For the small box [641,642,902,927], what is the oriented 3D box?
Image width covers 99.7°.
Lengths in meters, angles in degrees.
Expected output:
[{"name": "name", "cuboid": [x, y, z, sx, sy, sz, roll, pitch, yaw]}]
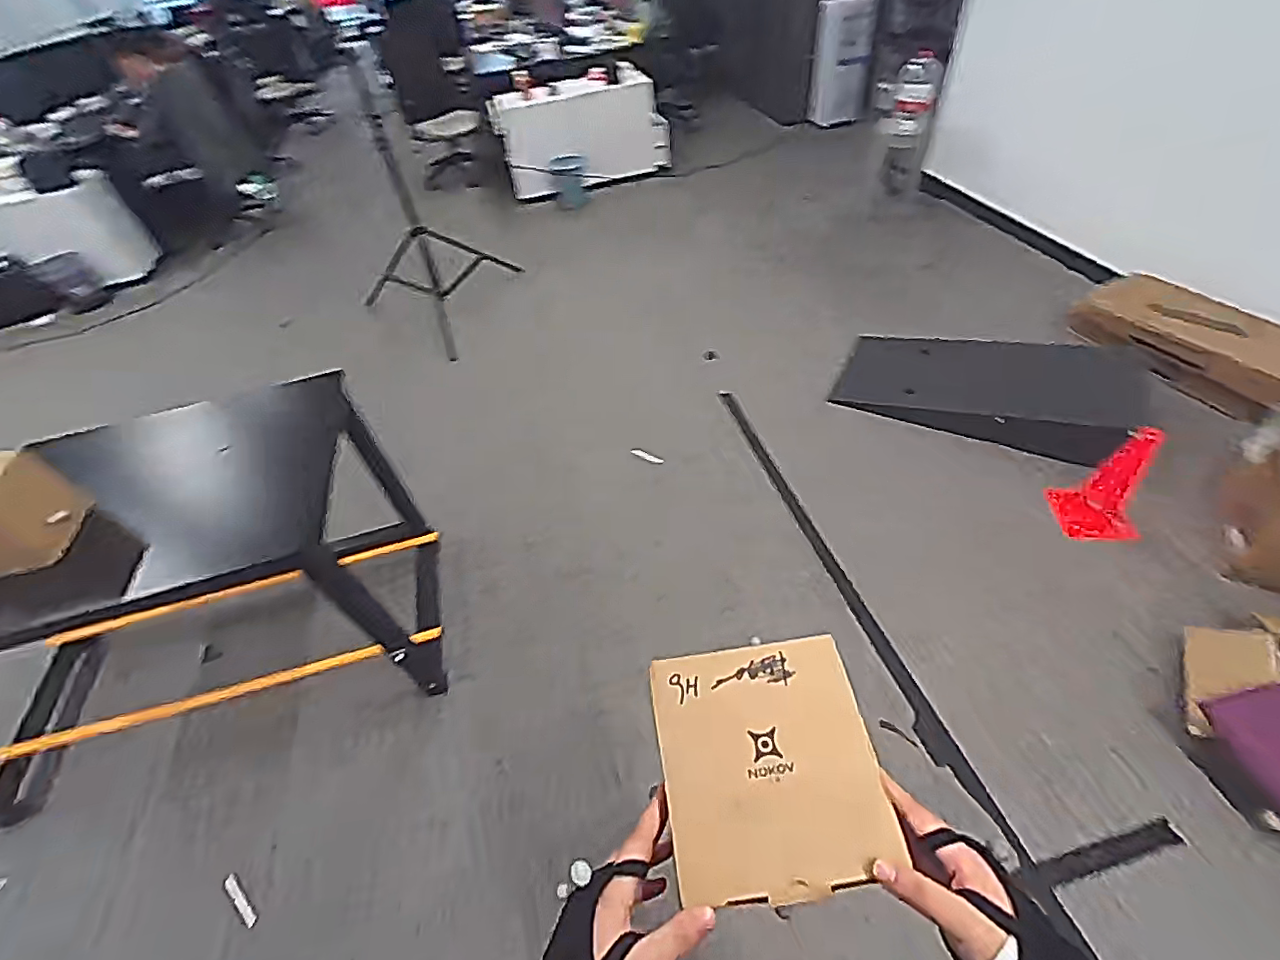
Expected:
[{"name": "small box", "cuboid": [0.098, 0.267, 0.485, 0.168, 0.176, 0.179, -9, 56, -2]}]

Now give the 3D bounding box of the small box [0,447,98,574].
[{"name": "small box", "cuboid": [-1.228, 0.067, 1.038, 0.179, 0.176, 0.168, -14, 48, -6]}]
